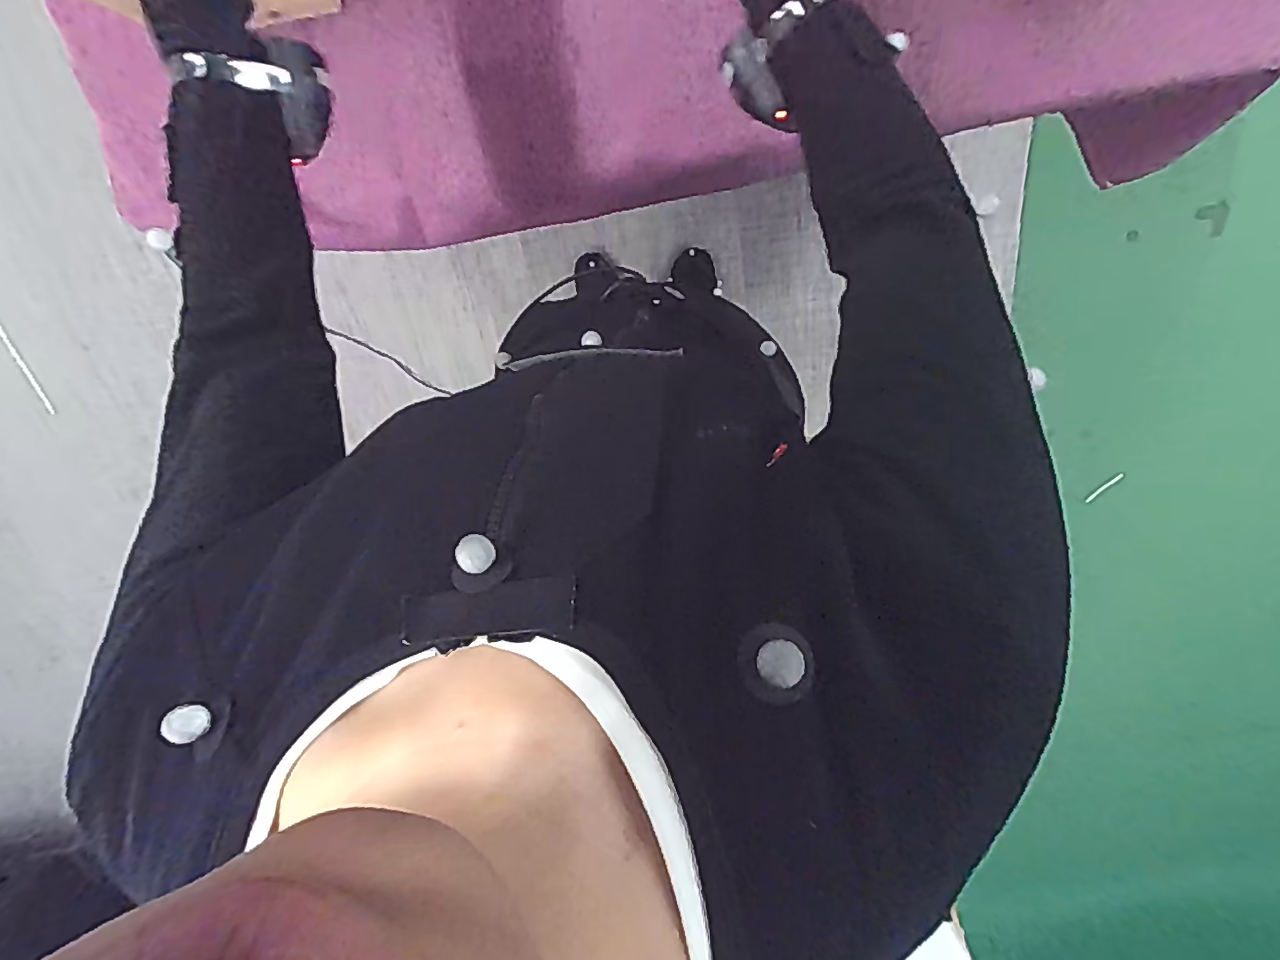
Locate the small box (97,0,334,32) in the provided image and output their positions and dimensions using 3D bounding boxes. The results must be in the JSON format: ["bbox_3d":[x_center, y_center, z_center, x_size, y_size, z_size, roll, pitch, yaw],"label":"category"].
[{"bbox_3d":[-0.380,-0.487,0.424,0.168,0.176,0.179,-9,115,3],"label":"small box"}]
